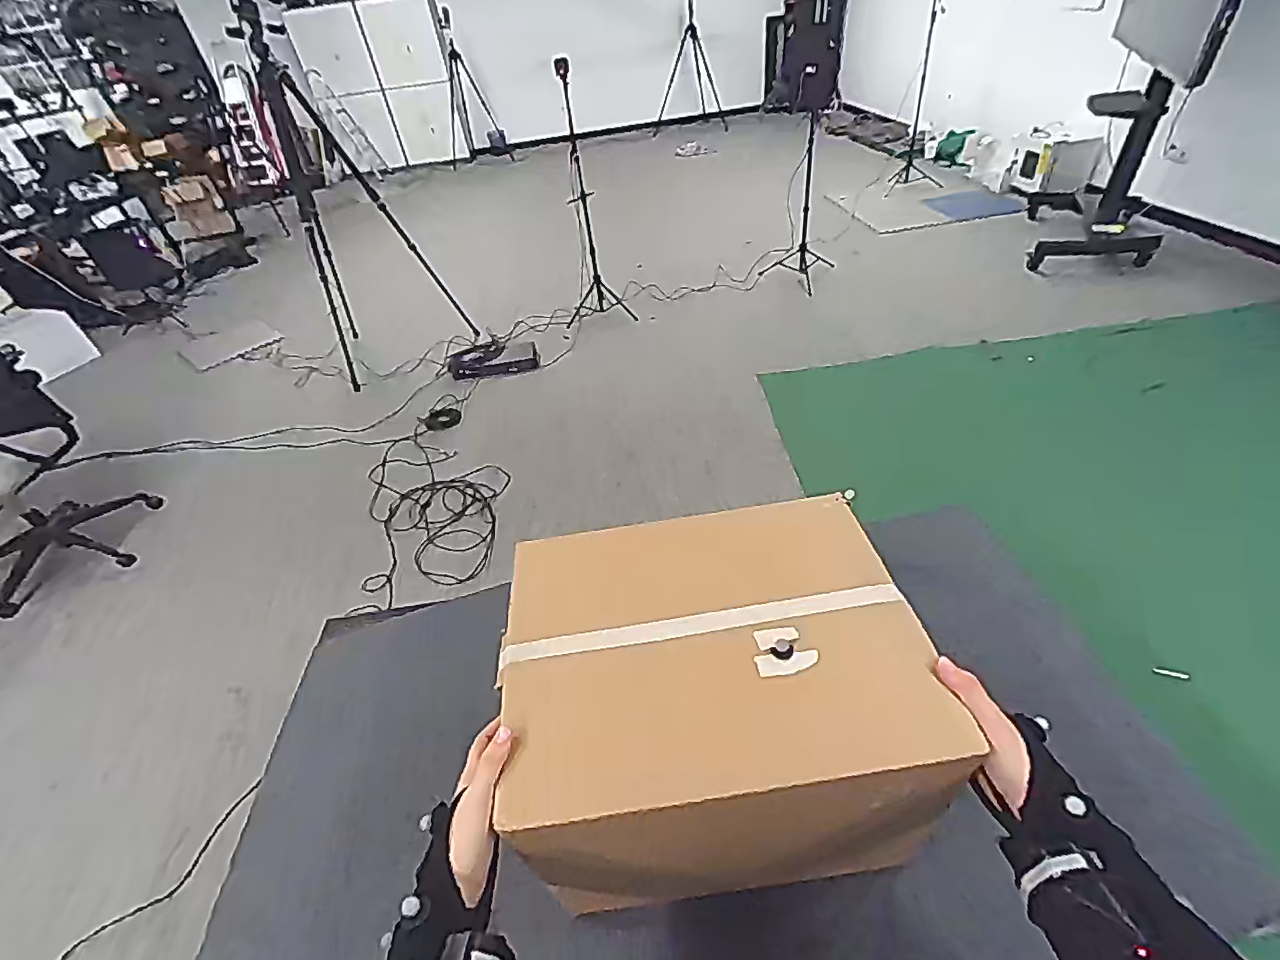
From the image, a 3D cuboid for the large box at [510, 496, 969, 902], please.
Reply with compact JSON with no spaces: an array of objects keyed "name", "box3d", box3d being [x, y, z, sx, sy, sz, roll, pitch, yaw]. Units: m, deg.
[{"name":"large box","box3d":[0.082,0.261,0.659,0.408,0.320,0.320,-9,42,-1]}]
